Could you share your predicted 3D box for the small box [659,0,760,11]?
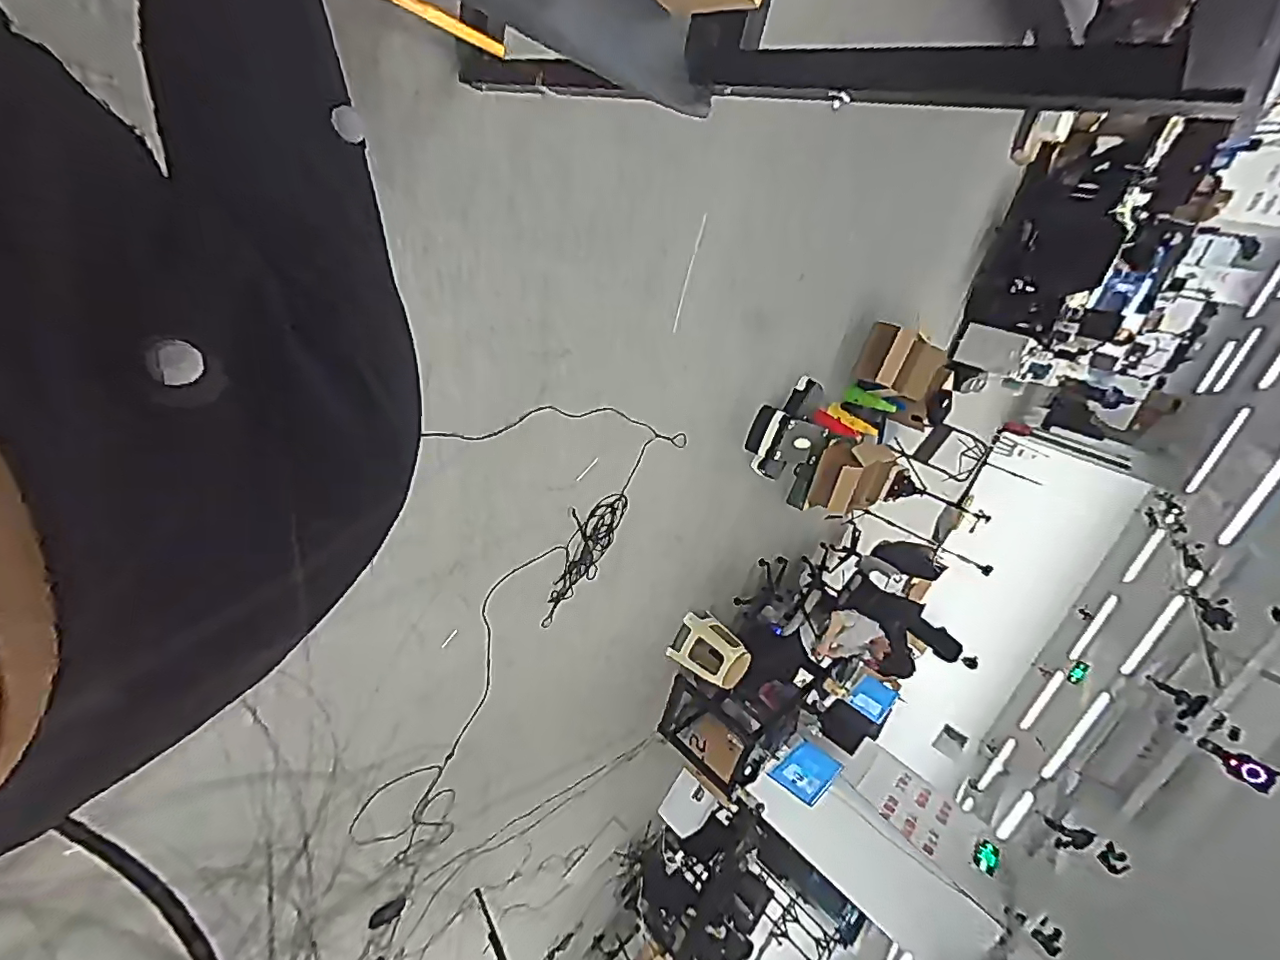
[{"bbox_3d":[0.078,-0.765,0.713,0.168,0.176,0.179,-6,120,-49],"label":"small box"}]
